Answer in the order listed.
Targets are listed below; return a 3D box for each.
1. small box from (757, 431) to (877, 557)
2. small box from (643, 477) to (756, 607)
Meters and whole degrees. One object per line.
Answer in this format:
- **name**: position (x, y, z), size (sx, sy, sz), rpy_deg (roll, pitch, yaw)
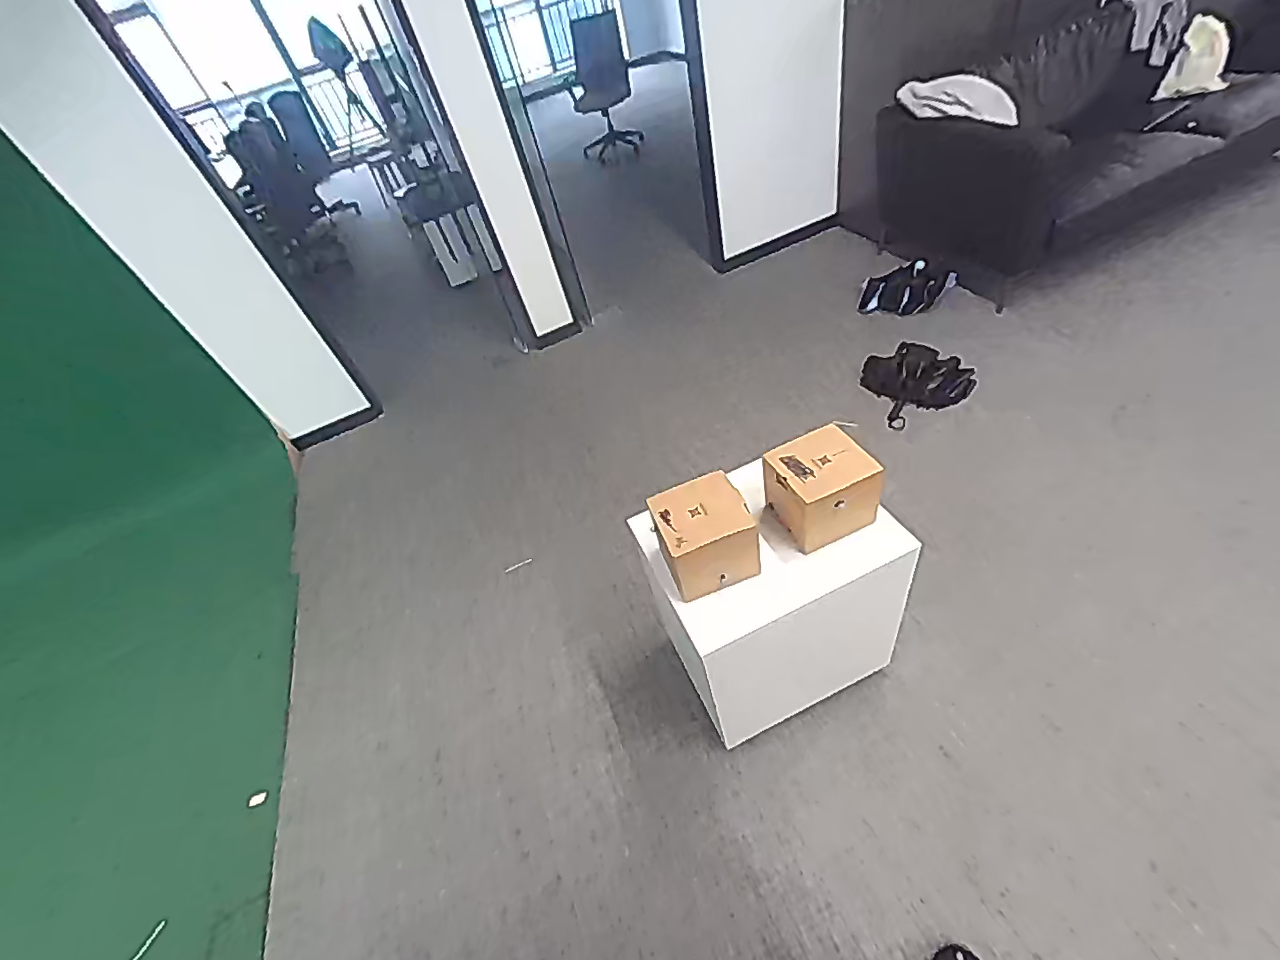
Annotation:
- **small box**: position (0.366, 0.032, 1.139), size (0.179, 0.176, 0.168), rpy_deg (-23, 45, -10)
- **small box**: position (0.121, 0.127, 1.103), size (0.179, 0.176, 0.168), rpy_deg (-19, 44, -8)
